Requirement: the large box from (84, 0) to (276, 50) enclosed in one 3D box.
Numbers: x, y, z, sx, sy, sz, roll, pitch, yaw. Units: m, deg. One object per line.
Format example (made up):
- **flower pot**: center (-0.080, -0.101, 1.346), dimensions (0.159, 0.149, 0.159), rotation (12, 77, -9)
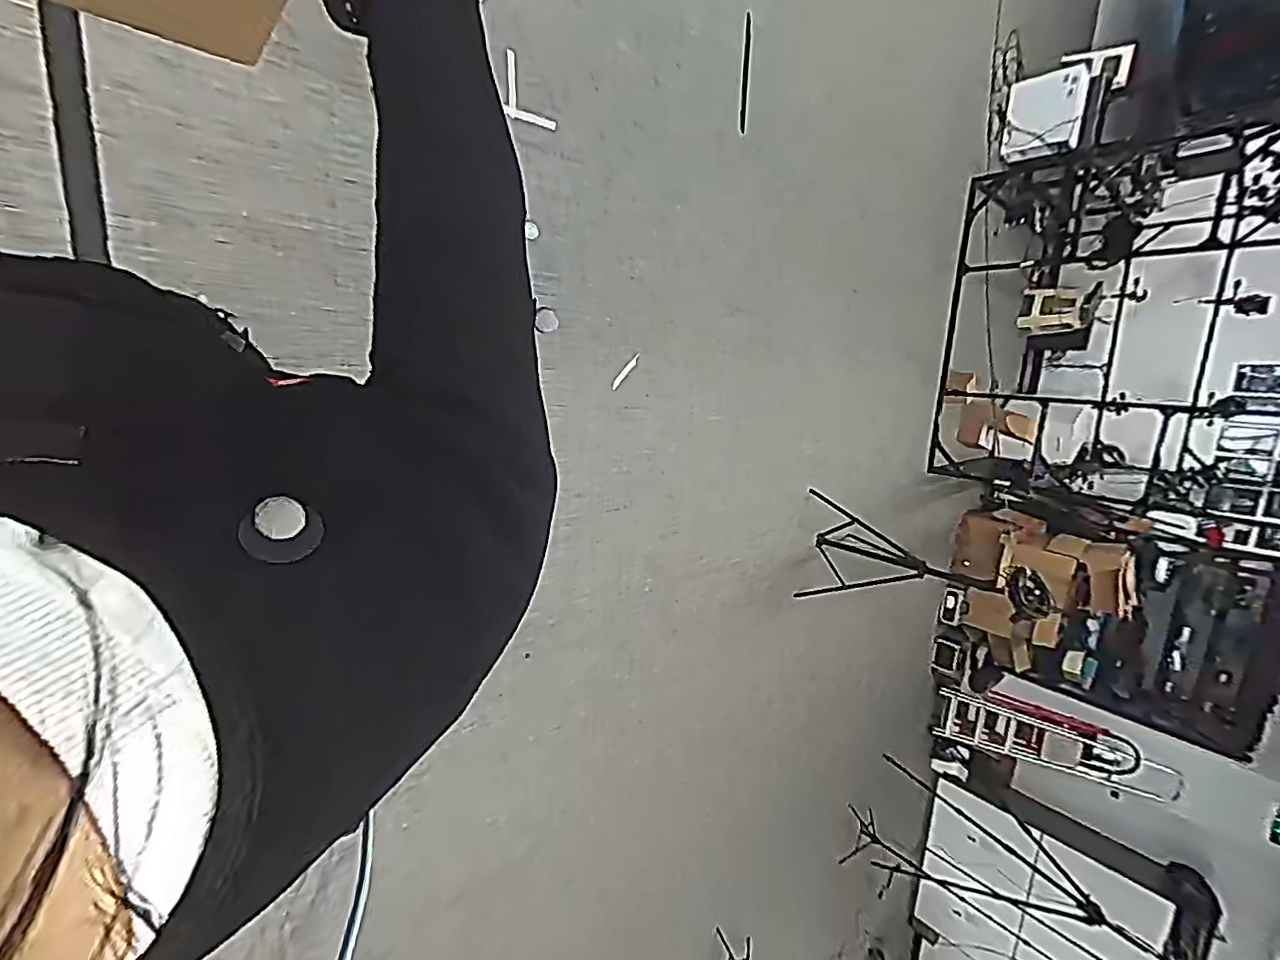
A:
- **large box**: center (-0.439, -0.531, 0.290), dimensions (0.408, 0.320, 0.320), rotation (-9, 110, -43)
